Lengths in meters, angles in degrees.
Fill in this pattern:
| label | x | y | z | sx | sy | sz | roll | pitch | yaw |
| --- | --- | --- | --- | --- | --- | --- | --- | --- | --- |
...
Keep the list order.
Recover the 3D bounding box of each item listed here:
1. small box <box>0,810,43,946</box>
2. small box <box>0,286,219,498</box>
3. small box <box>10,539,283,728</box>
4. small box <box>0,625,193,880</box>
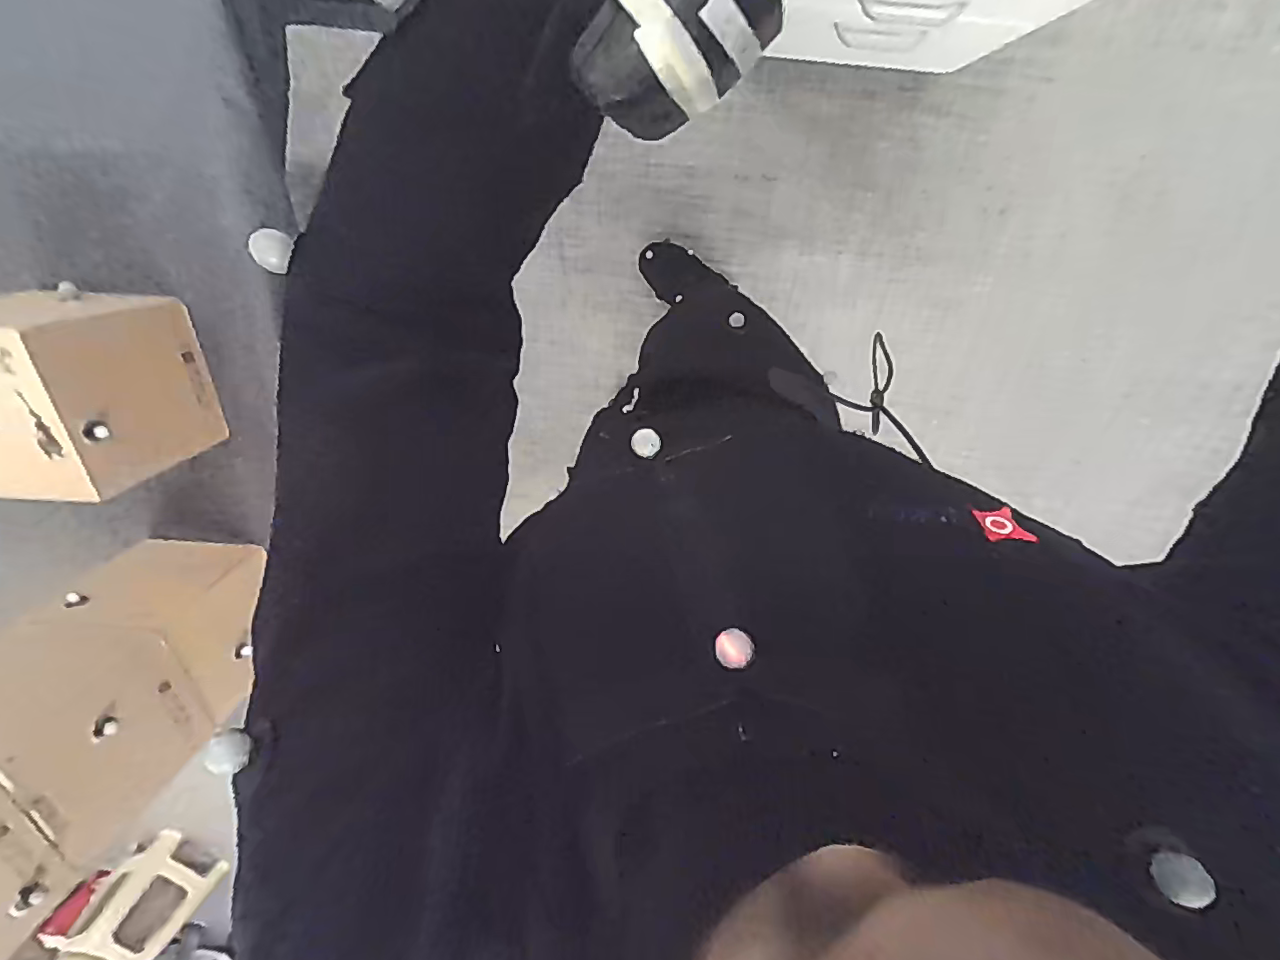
| label | x | y | z | sx | sy | sz | roll | pitch | yaw |
| --- | --- | --- | --- | --- | --- | --- | --- | --- | --- |
| small box | -0.626 | 0.338 | 0.405 | 0.179 | 0.176 | 0.168 | 0 | 116 | 6 |
| small box | -0.590 | -0.098 | 0.546 | 0.179 | 0.176 | 0.168 | 4 | 117 | 4 |
| small box | -0.601 | 0.189 | 0.695 | 0.179 | 0.176 | 0.168 | 2 | 117 | 4 |
| small box | -0.612 | 0.265 | 0.551 | 0.179 | 0.176 | 0.168 | 2 | 116 | 6 |
